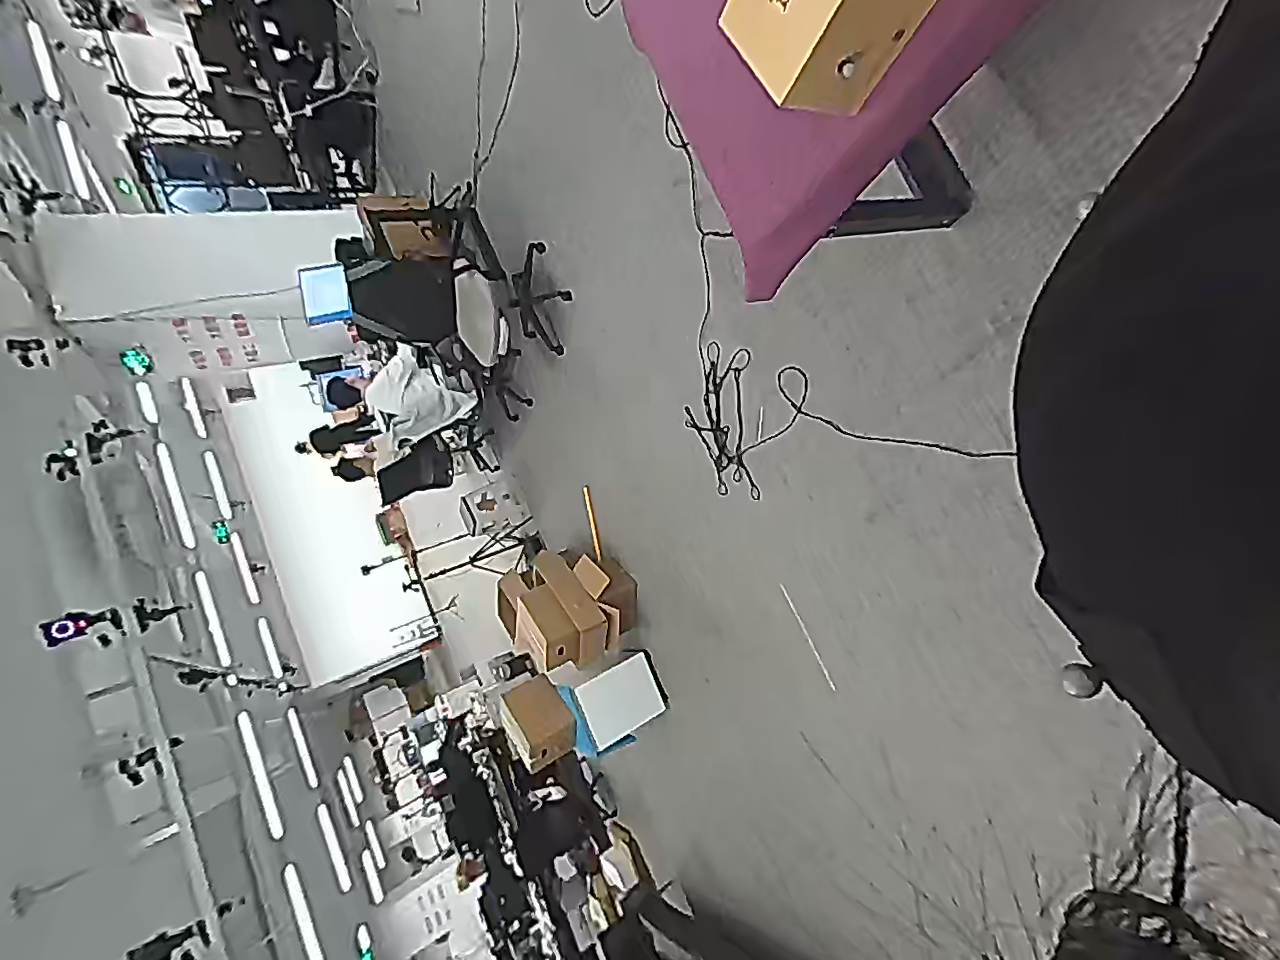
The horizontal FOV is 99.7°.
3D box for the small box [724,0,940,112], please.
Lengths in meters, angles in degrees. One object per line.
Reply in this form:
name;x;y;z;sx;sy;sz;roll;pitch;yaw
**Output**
small box;0.249;-0.617;0.706;0.179;0.176;0.168;63;149;16
